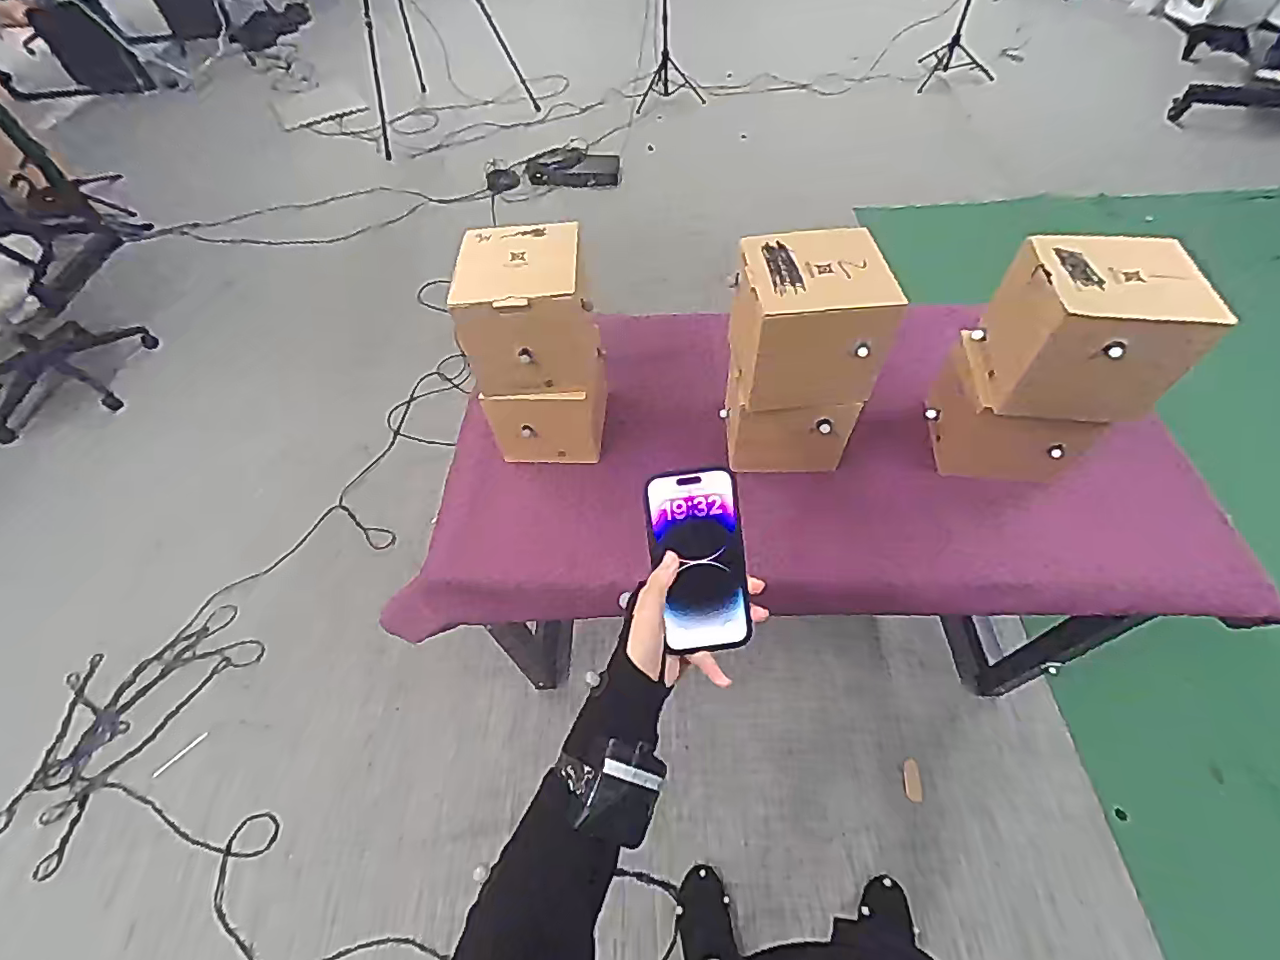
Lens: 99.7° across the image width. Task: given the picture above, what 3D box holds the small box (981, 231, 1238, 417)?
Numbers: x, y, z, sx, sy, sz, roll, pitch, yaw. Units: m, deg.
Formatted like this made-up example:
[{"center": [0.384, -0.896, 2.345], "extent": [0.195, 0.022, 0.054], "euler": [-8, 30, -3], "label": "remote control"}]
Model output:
[{"center": [0.574, -0.198, 0.700], "extent": [0.179, 0.176, 0.168], "euler": [5, 55, 8], "label": "small box"}]

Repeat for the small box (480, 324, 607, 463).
[{"center": [-0.151, -0.142, 0.920], "extent": [0.168, 0.176, 0.179], "euler": [0, 54, 5], "label": "small box"}]

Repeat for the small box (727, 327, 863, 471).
[{"center": [0.238, -0.127, 0.876], "extent": [0.179, 0.176, 0.168], "euler": [0, 54, 5], "label": "small box"}]

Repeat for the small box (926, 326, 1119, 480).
[{"center": [0.576, -0.116, 0.842], "extent": [0.179, 0.176, 0.168], "euler": [5, 55, 8], "label": "small box"}]

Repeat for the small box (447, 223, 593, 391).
[{"center": [-0.161, -0.244, 0.791], "extent": [0.168, 0.176, 0.179], "euler": [-4, 55, 1], "label": "small box"}]
